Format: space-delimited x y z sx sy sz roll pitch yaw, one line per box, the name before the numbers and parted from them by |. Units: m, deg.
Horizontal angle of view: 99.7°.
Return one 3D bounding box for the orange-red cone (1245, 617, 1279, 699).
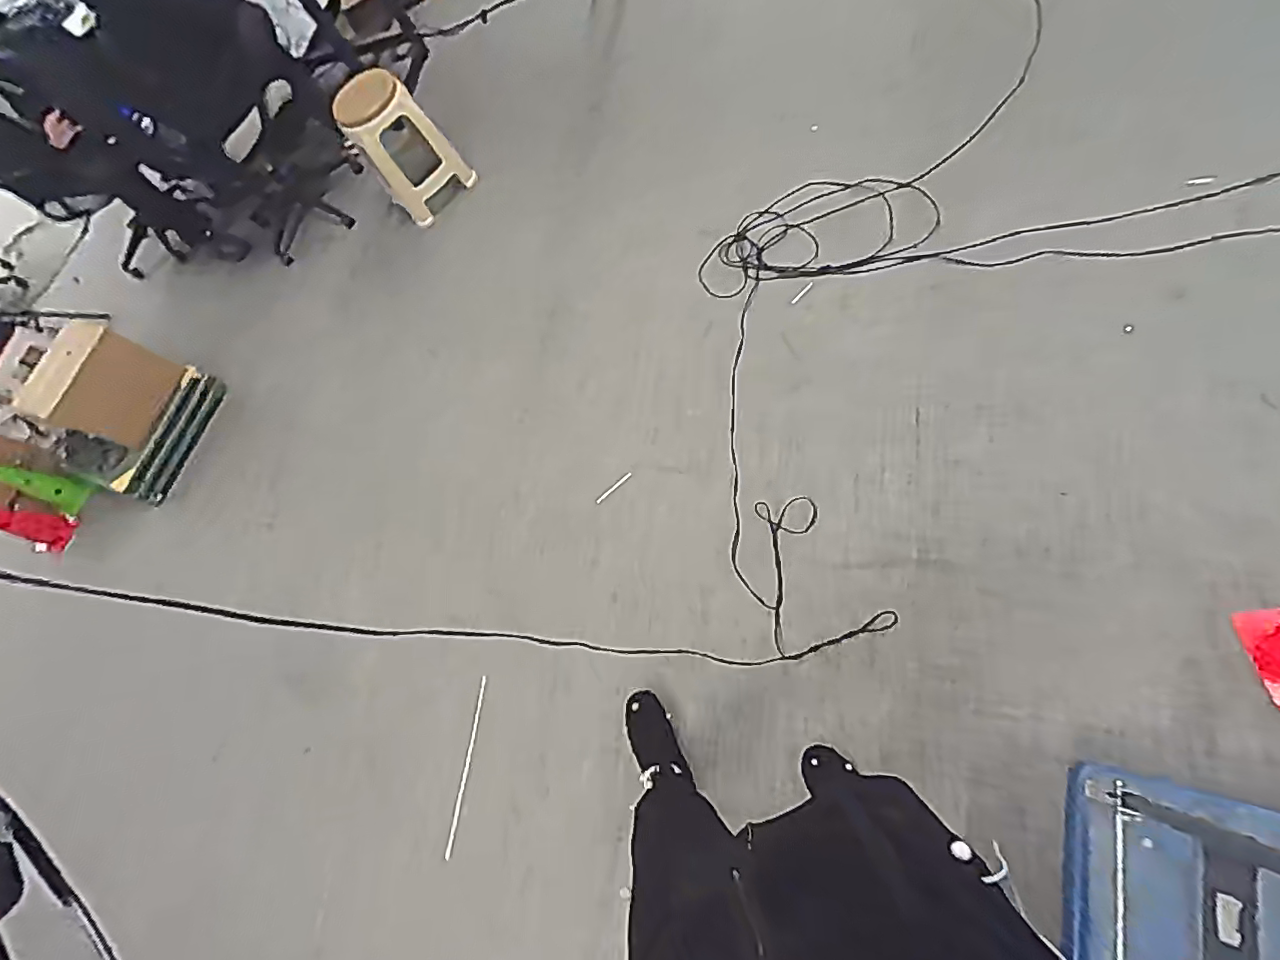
orange-red cone | 1.342 0.313 0.953 0.198 0.360 0.199 -11 65 13
